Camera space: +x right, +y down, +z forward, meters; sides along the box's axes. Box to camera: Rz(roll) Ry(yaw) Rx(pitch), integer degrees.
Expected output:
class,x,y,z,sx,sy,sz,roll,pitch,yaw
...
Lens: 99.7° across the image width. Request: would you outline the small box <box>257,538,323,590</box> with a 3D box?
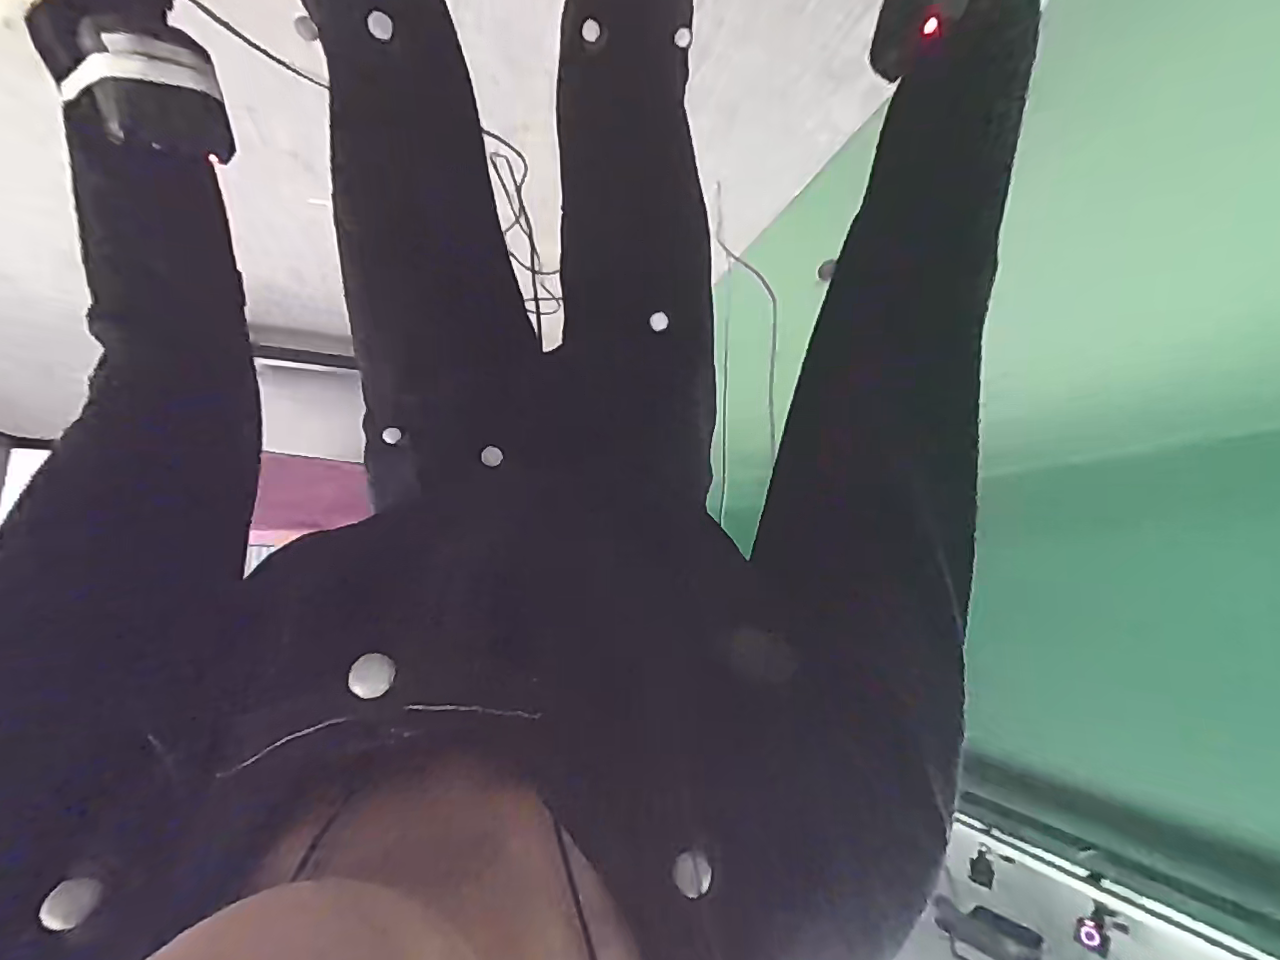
class,x,y,z,sx,sy,sz,roll,pitch,yaw
small box,-1.201,0.290,1.867,0.179,0.176,0.168,6,167,-27
